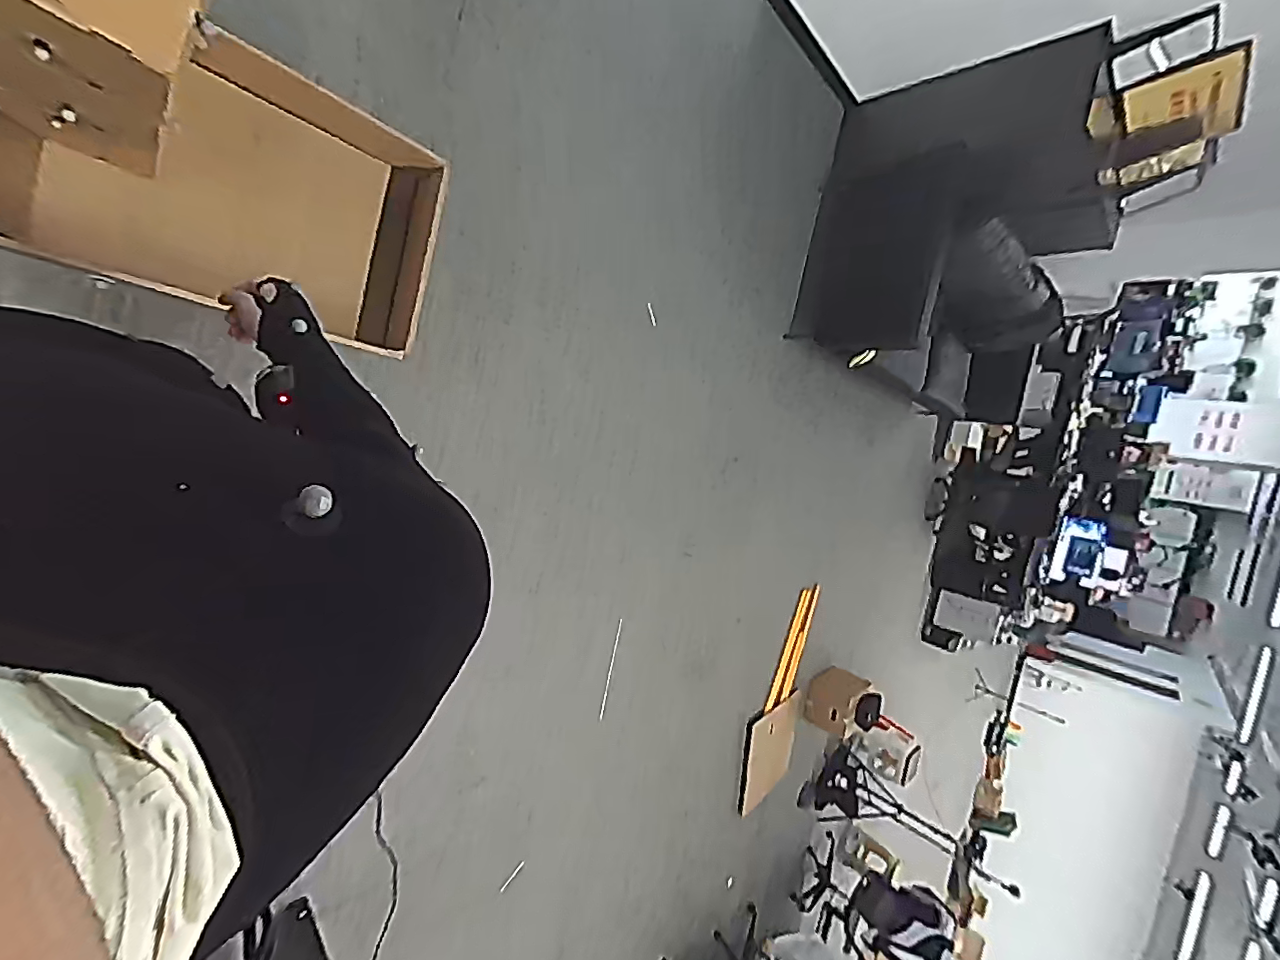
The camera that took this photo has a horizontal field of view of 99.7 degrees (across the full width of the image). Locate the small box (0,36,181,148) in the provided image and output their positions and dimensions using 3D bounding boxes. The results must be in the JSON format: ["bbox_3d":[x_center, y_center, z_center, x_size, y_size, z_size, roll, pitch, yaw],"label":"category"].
[{"bbox_3d":[-0.654,-0.538,0.636,0.168,0.176,0.179,16,89,-44],"label":"small box"}]

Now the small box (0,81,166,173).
[{"bbox_3d":[-0.767,-0.568,0.750,0.168,0.176,0.179,13,91,-45],"label":"small box"}]

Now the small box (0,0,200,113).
[{"bbox_3d":[-0.540,-0.509,0.524,0.168,0.176,0.179,18,89,-45],"label":"small box"}]
